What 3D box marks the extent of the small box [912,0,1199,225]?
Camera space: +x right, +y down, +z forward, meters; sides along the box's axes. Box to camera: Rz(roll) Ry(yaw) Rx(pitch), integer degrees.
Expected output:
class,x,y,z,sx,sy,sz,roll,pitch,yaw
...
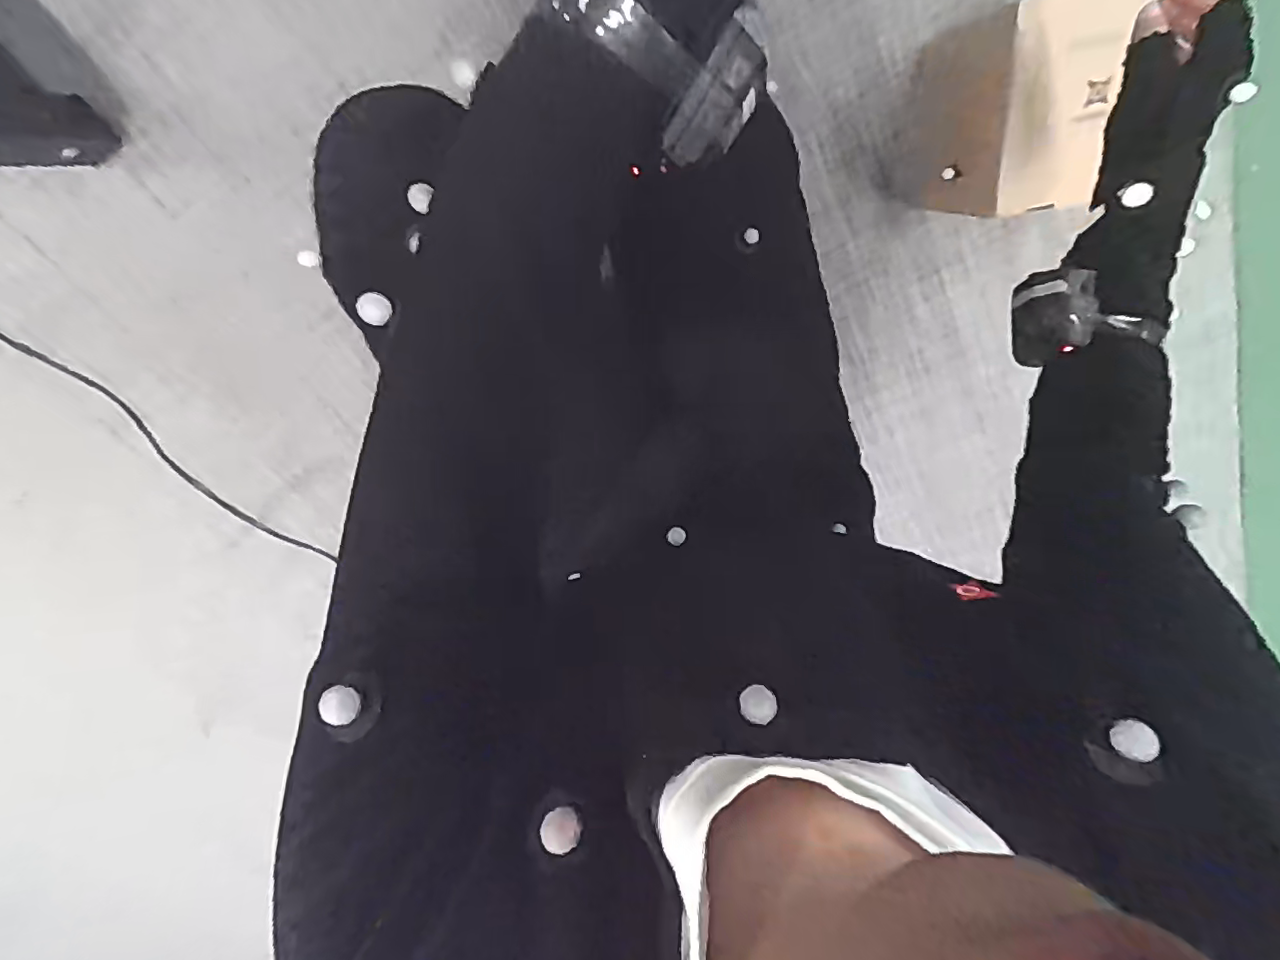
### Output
class,x,y,z,sx,sy,sz,roll,pitch,yaw
small box,0.408,-0.386,0.570,0.168,0.176,0.179,-11,119,4
